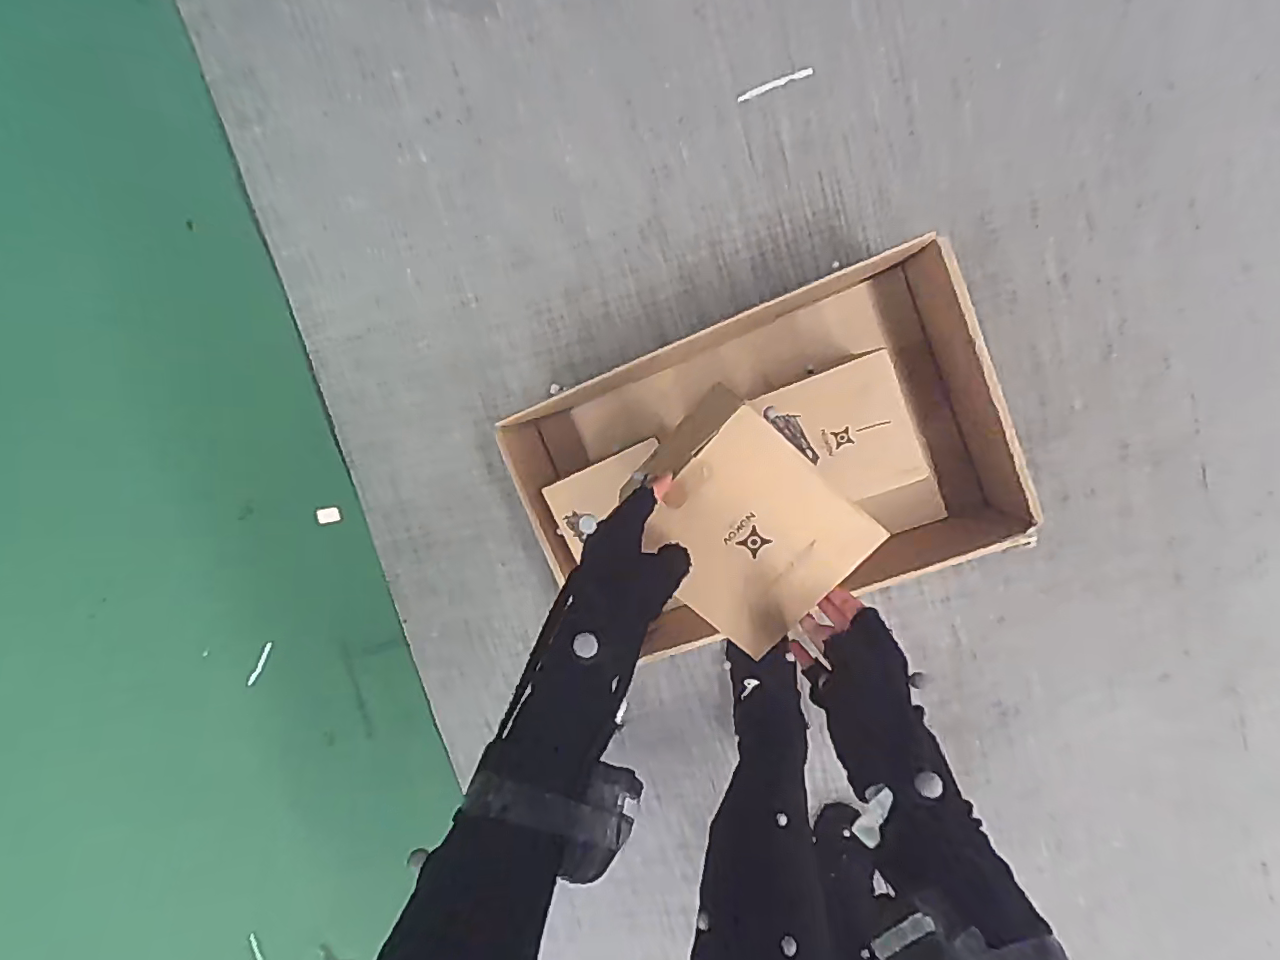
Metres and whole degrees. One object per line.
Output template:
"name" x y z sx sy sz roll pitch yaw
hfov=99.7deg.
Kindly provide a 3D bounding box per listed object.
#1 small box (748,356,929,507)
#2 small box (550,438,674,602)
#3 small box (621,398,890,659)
"small box" 0.254 -0.055 0.733 0.179 0.176 0.168 -20 96 12
"small box" -0.002 0.048 0.793 0.179 0.176 0.168 -25 94 11
"small box" 0.098 0.033 0.542 0.179 0.176 0.168 39 103 -10
